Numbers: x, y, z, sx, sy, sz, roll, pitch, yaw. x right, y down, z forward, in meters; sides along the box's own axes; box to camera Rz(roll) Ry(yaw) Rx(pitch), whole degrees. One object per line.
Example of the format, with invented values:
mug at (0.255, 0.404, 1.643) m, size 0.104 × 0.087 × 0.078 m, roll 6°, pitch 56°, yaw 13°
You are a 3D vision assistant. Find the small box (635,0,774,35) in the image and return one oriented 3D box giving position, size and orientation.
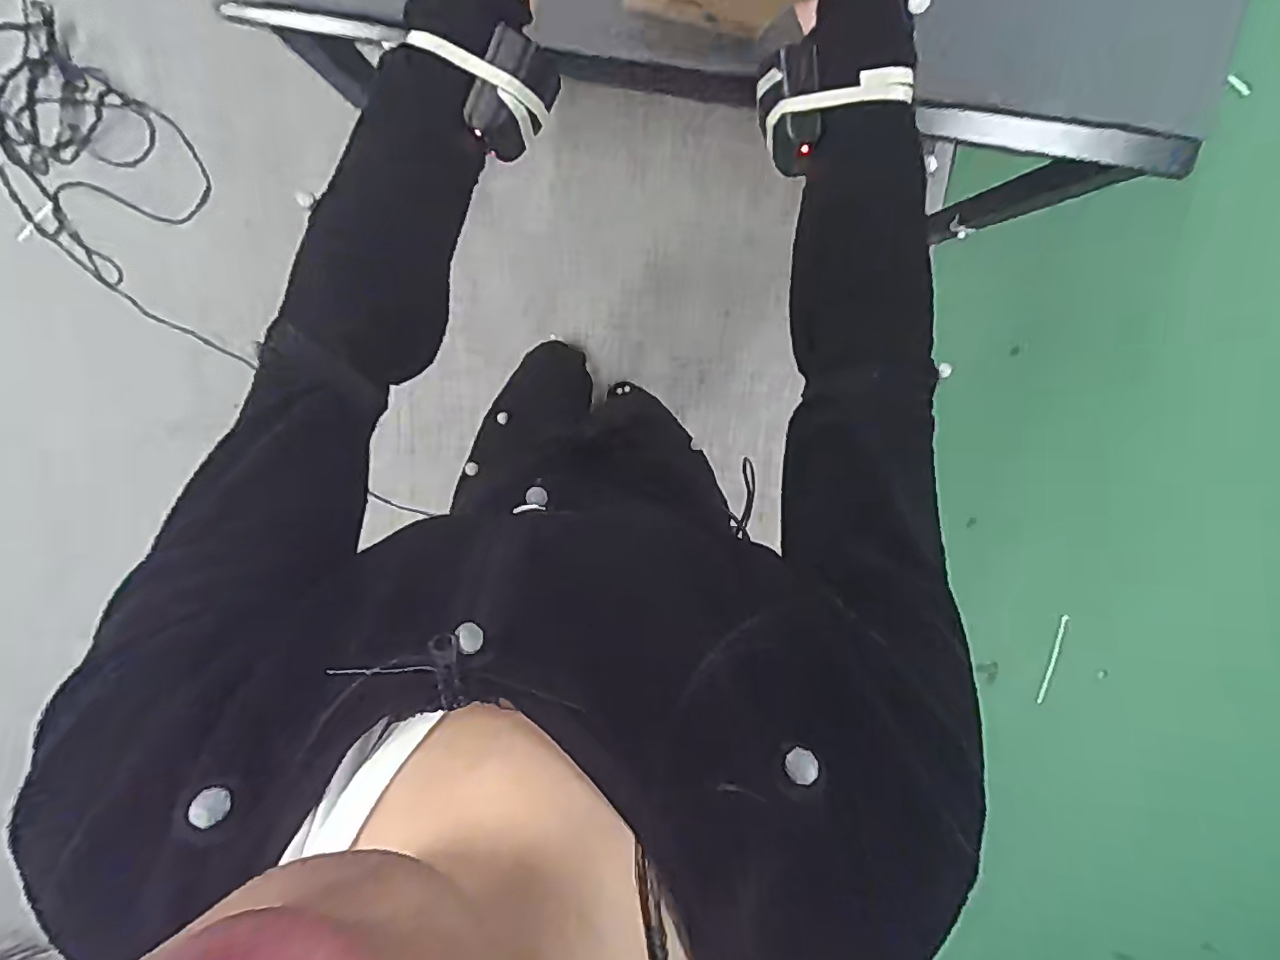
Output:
small box at (0.081, -0.599, 0.532) m, size 0.168 × 0.176 × 0.179 m, roll 10°, pitch 102°, yaw -5°
